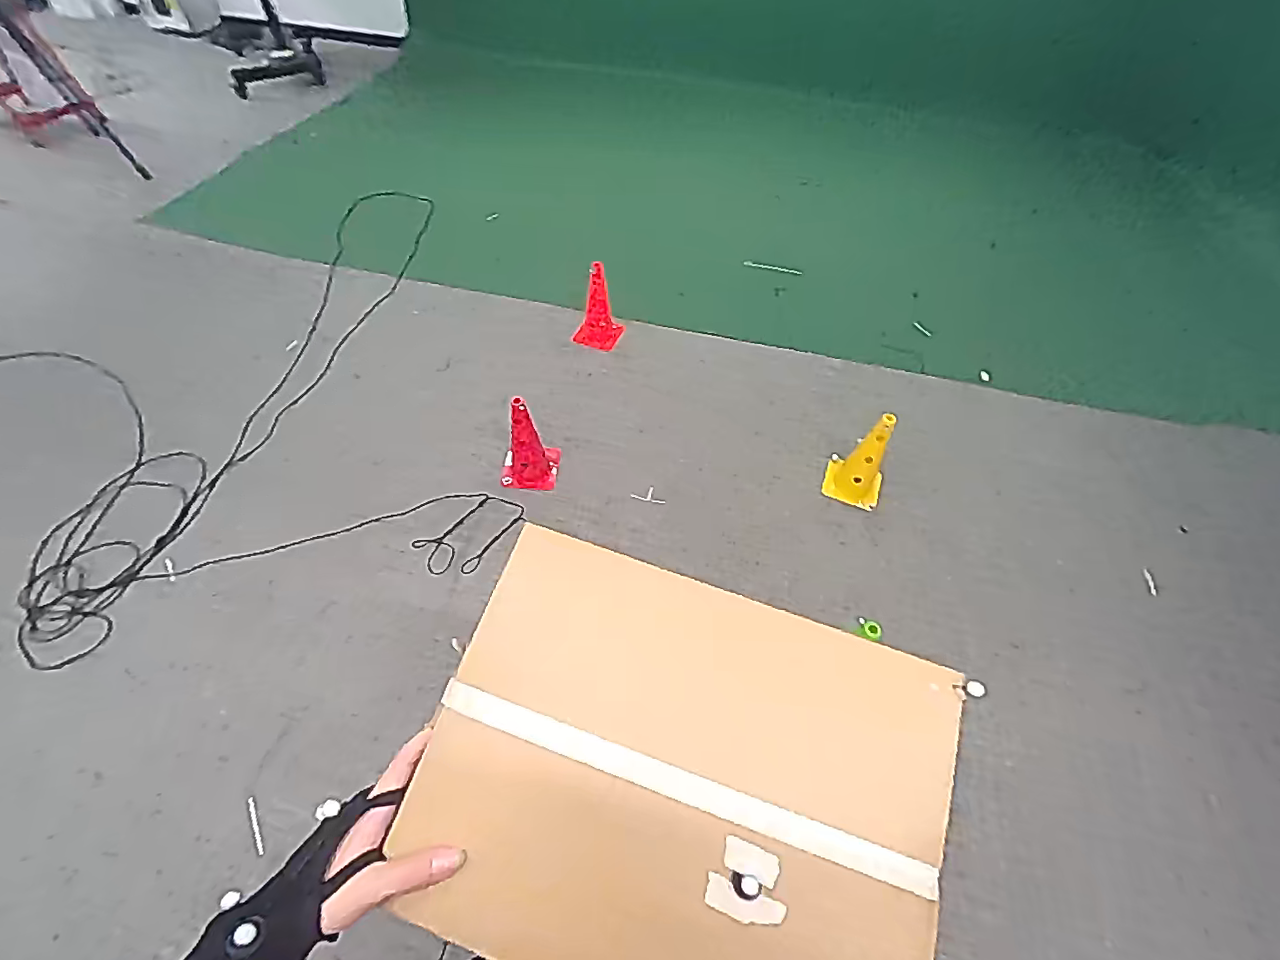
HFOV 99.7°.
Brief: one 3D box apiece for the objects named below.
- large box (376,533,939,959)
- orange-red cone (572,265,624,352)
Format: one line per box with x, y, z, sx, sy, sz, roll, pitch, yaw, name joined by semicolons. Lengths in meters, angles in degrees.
0.027;0.292;0.582;0.408;0.320;0.320;17;71;6;large box
-0.190;-0.774;2.379;0.199;0.360;0.198;18;53;12;orange-red cone
